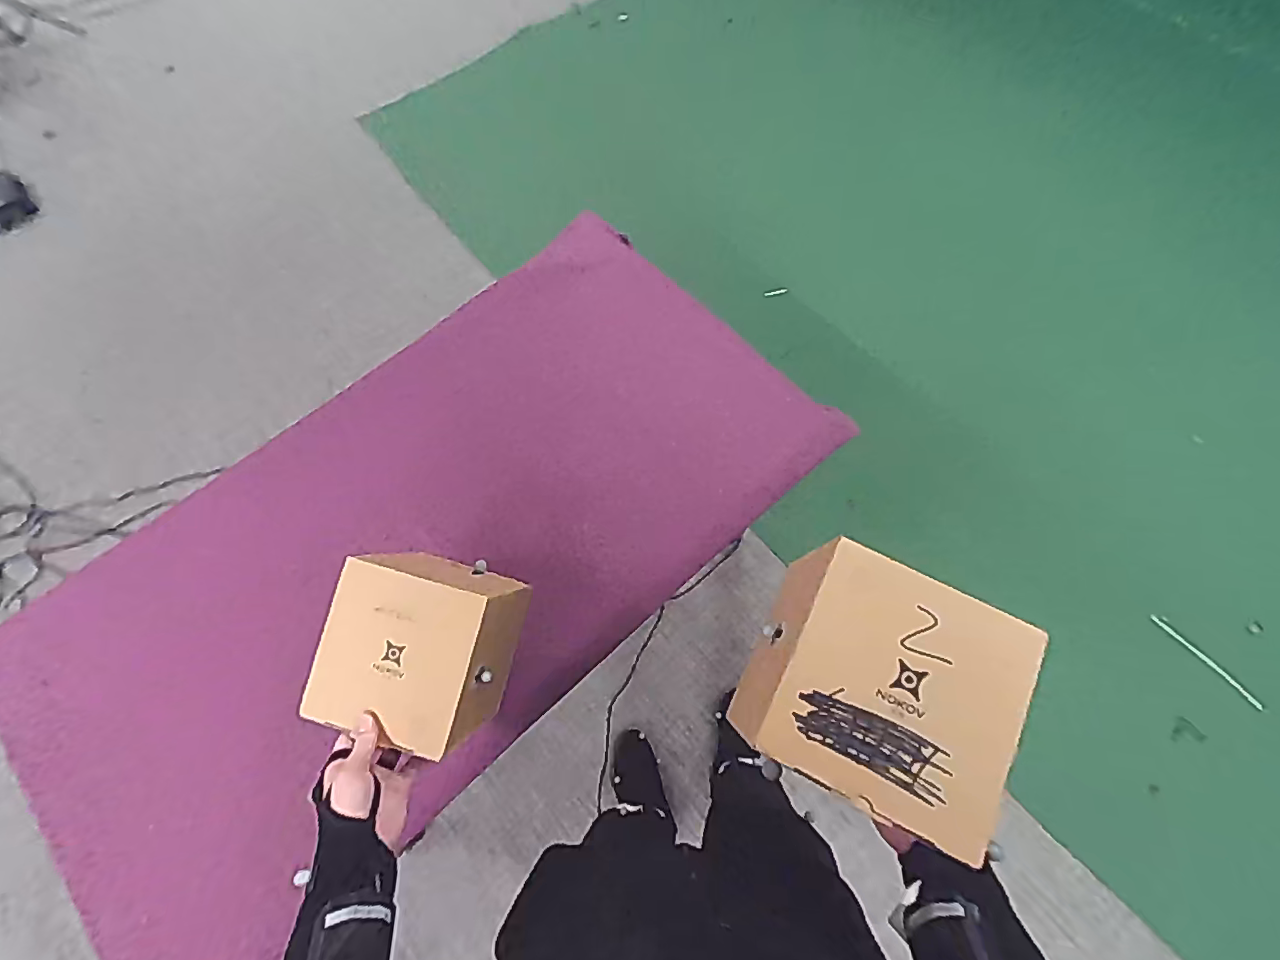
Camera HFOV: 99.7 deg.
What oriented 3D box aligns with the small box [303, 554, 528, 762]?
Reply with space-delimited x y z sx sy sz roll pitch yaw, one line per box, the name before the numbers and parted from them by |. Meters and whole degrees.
small box | -0.250 0.195 0.649 0.168 0.176 0.179 16 85 6
